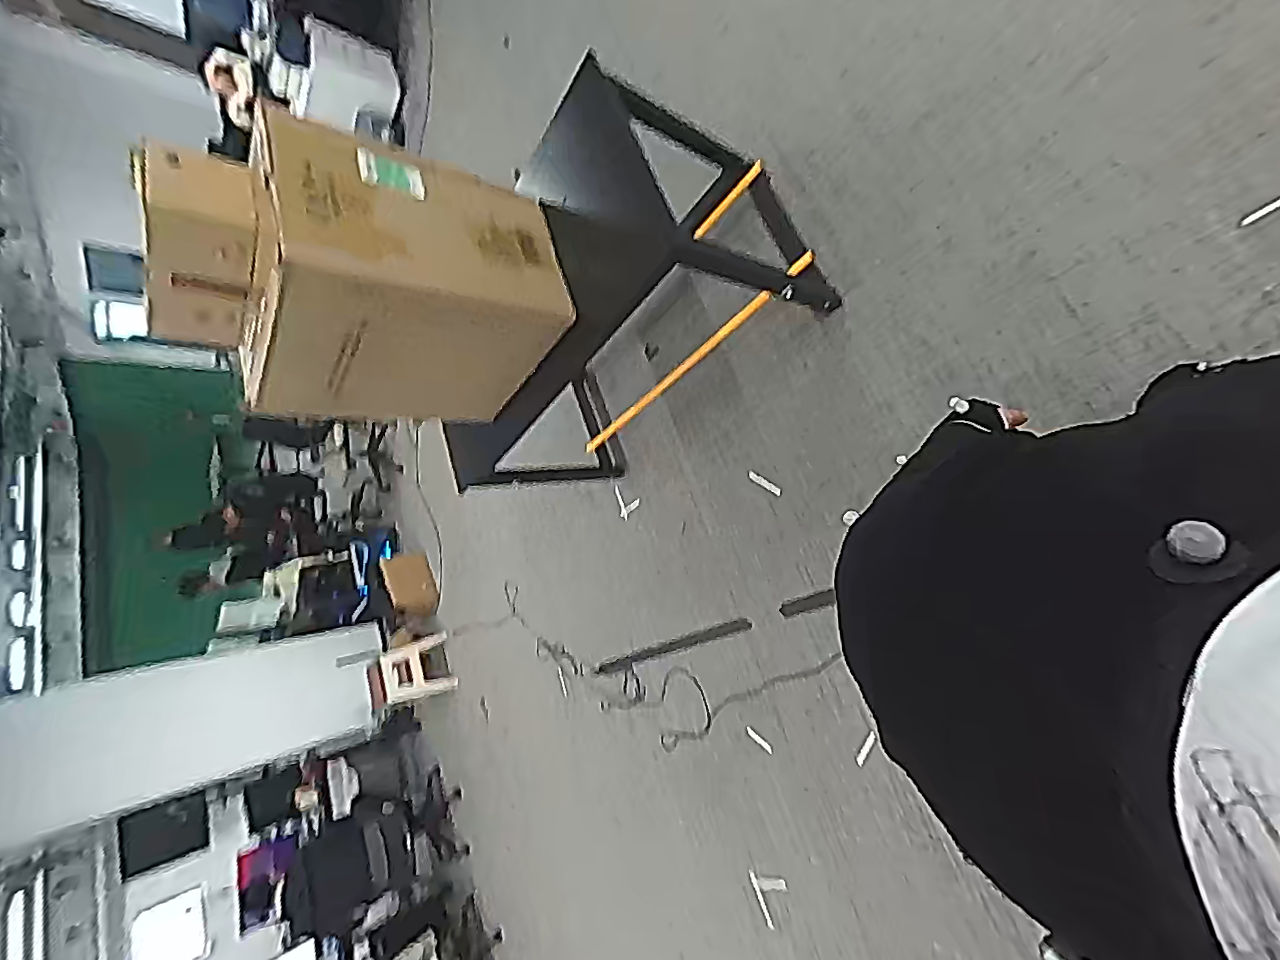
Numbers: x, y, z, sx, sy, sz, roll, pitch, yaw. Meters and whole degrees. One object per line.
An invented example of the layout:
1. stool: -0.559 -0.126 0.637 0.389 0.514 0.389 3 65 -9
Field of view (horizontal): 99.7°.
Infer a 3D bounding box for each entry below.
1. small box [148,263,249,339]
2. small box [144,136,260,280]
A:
1. small box: -1.017 -0.443 1.245 0.168 0.176 0.179 -41 63 40
2. small box: -0.881 -0.534 1.088 0.168 0.176 0.179 -39 63 43
